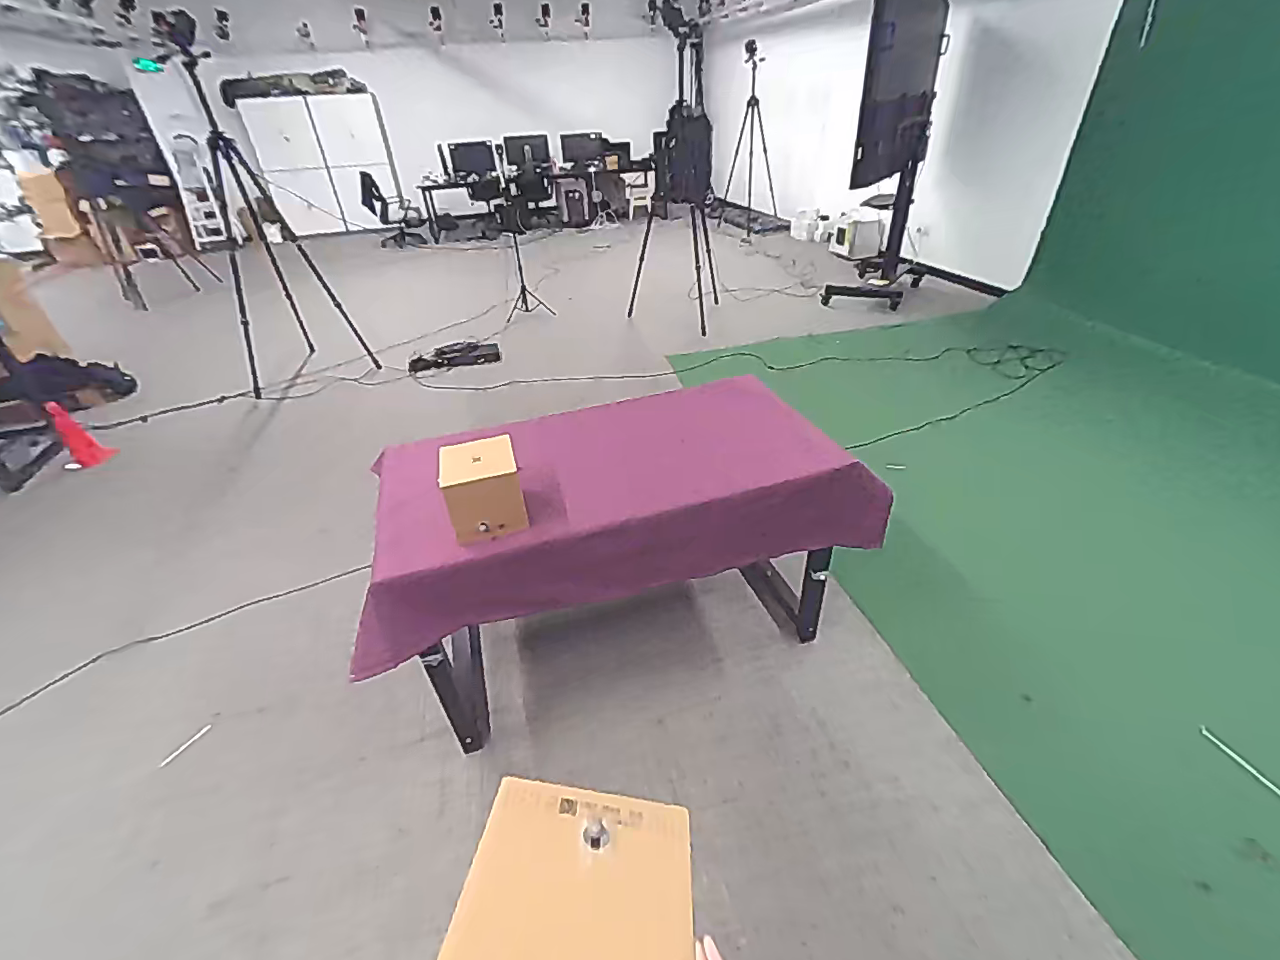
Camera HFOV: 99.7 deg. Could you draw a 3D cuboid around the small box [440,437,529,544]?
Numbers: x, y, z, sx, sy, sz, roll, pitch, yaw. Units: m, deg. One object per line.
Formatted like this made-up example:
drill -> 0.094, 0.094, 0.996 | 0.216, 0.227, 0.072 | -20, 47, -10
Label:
small box -> -0.365, 0.023, 1.273 | 0.168, 0.176, 0.179 | -13, 36, -11
